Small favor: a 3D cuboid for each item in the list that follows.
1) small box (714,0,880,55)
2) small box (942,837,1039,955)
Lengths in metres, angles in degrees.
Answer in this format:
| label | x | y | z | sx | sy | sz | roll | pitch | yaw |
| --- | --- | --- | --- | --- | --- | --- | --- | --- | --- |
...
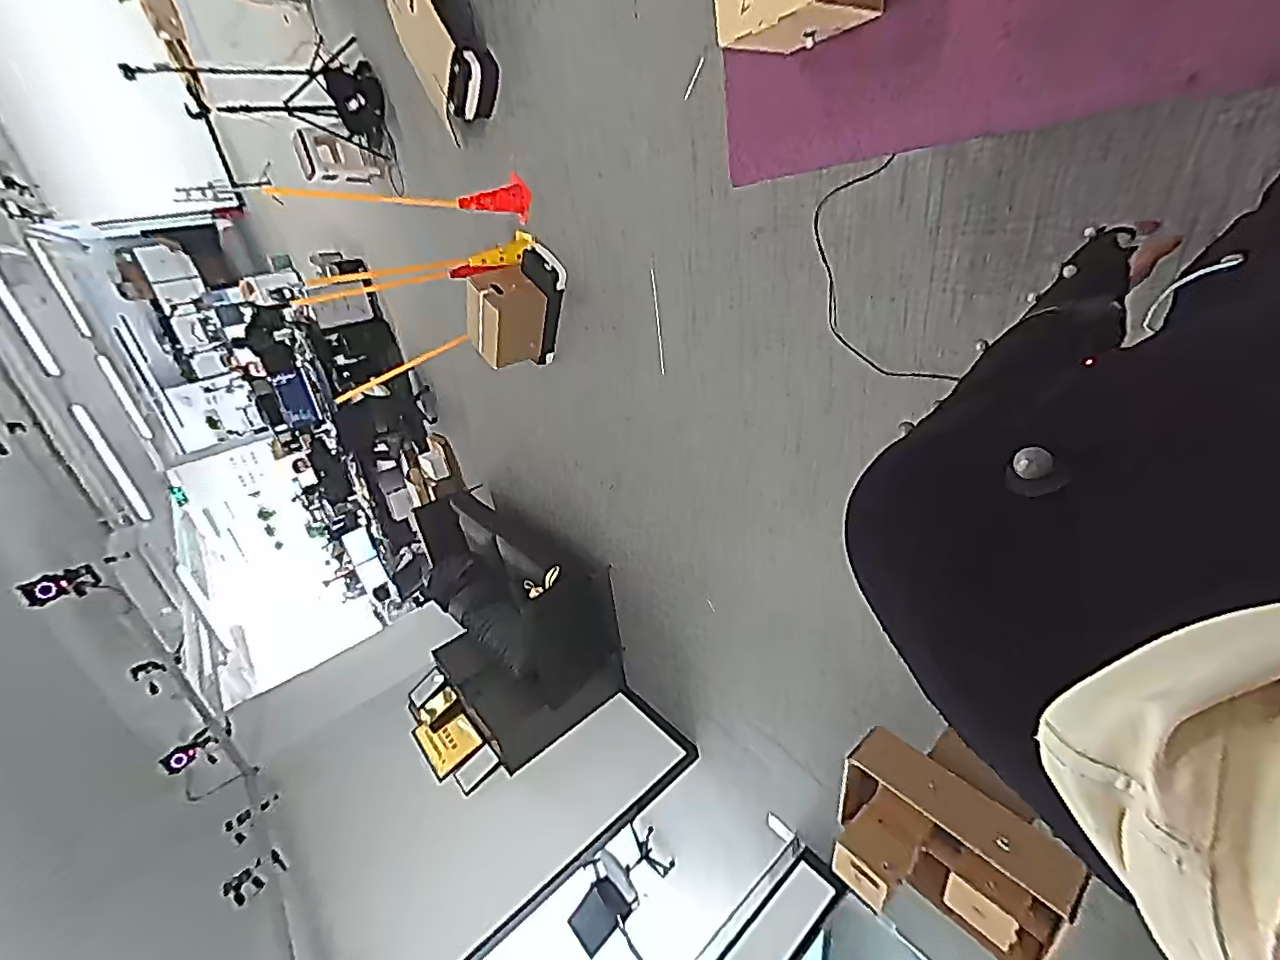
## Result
| label | x | y | z | sx | sy | sz | roll | pitch | yaw |
| --- | --- | --- | --- | --- | --- | --- | --- | --- | --- |
| small box | 0.218 | -0.723 | 0.749 | 0.168 | 0.176 | 0.179 | 21 | 128 | 47 |
| small box | 1.006 | 1.185 | 1.552 | 0.179 | 0.176 | 0.168 | 27 | 132 | 46 |
